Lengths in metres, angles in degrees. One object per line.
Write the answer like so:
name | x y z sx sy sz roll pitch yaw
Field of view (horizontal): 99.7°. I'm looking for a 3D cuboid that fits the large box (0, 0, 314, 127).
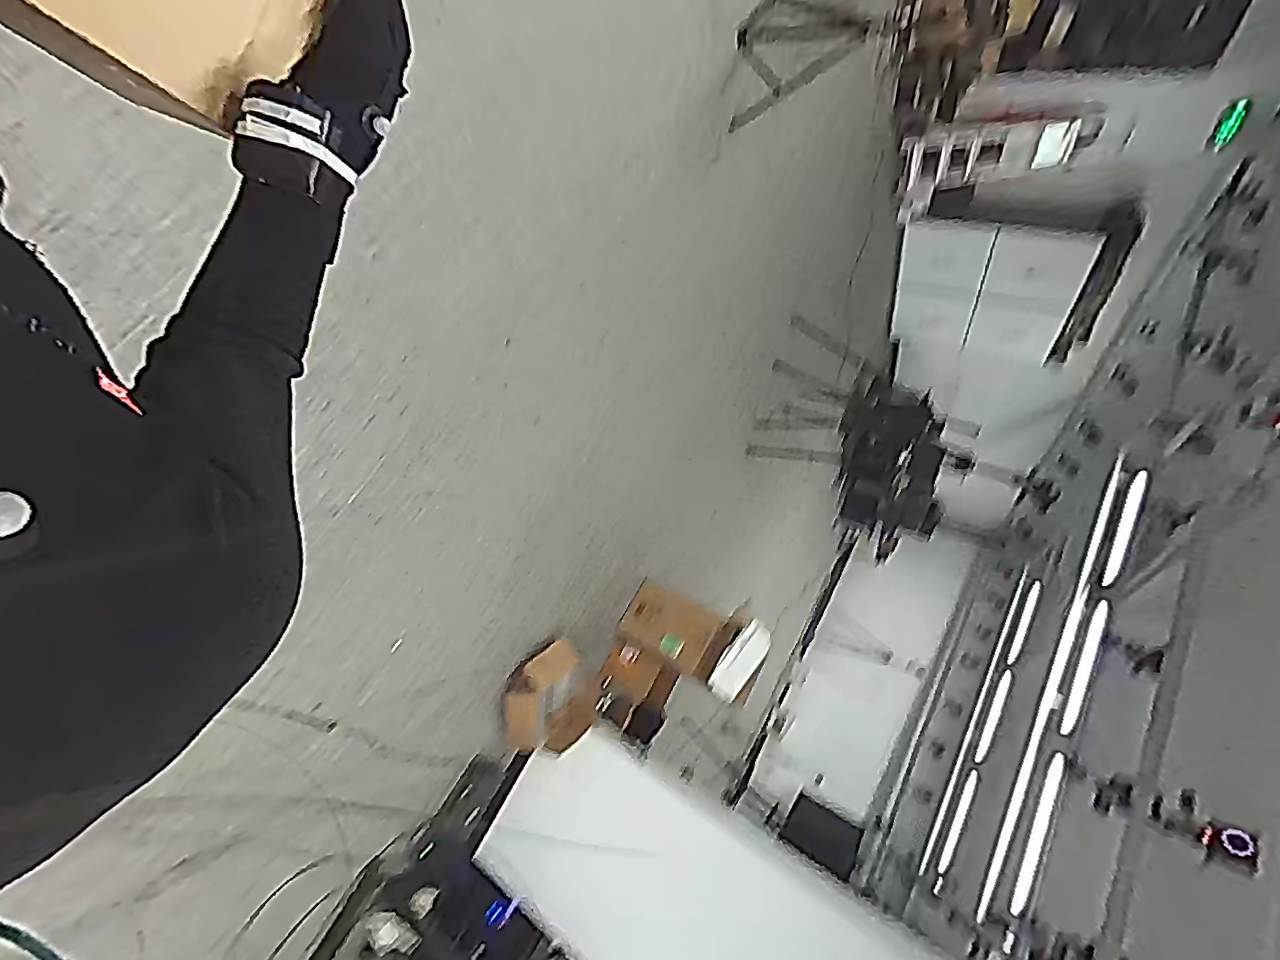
large box | -0.425 -0.488 0.289 0.320 0.320 0.408 -62 153 6
